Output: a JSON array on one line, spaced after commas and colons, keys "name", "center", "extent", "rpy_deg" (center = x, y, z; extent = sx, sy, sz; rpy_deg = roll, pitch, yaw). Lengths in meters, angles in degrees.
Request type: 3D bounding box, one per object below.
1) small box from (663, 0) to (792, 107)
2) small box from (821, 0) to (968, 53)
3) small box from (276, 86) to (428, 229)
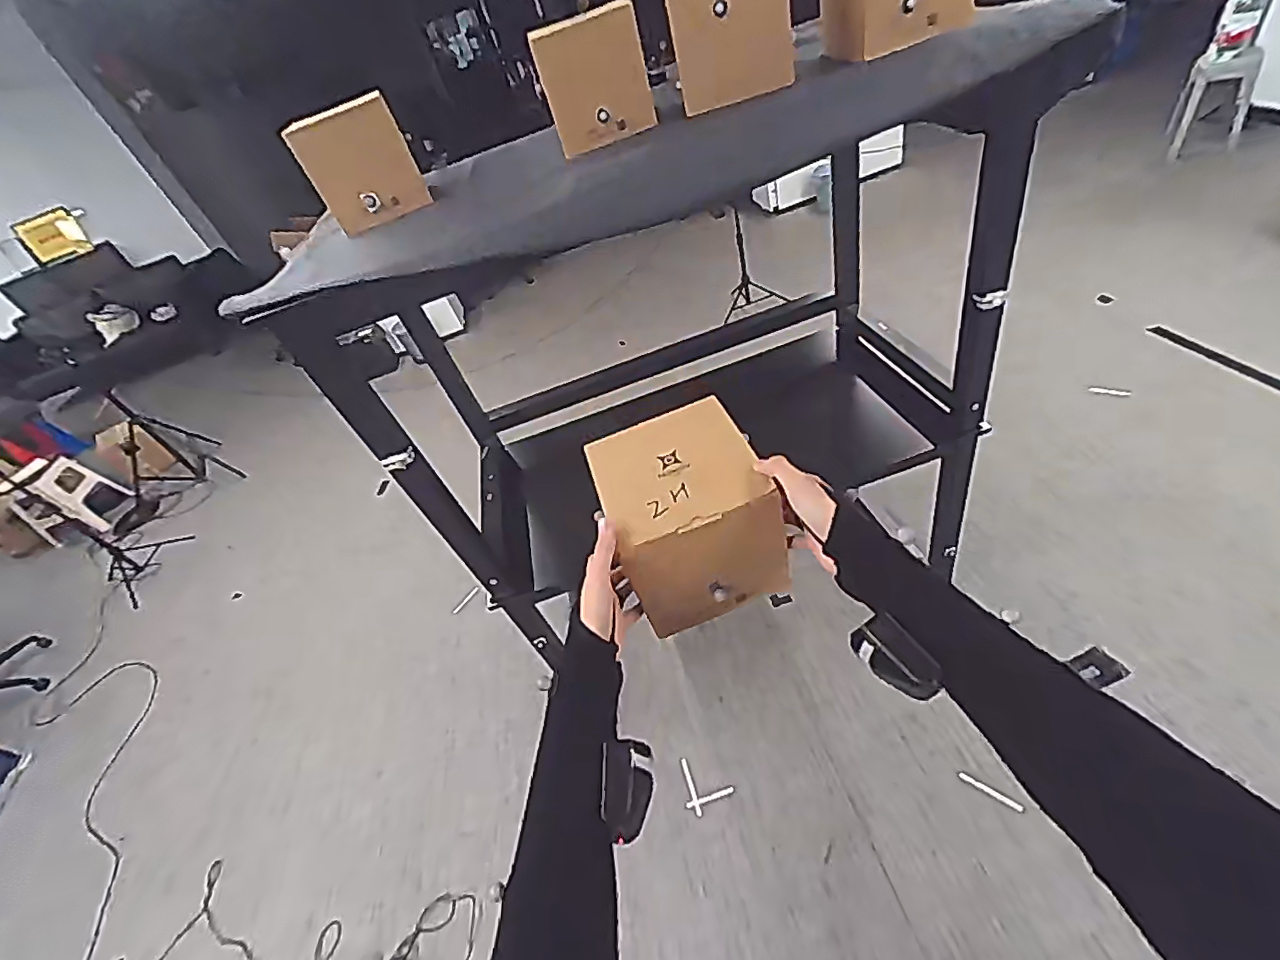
[{"name": "small box", "center": [0.139, -0.727, 0.866], "extent": [0.179, 0.176, 0.168], "rpy_deg": [-9, 43, 13]}, {"name": "small box", "center": [0.381, -0.778, 0.821], "extent": [0.168, 0.176, 0.179], "rpy_deg": [-17, 42, 6]}, {"name": "small box", "center": [-0.495, -0.566, 0.953], "extent": [0.168, 0.176, 0.179], "rpy_deg": [-27, 43, -5]}]
